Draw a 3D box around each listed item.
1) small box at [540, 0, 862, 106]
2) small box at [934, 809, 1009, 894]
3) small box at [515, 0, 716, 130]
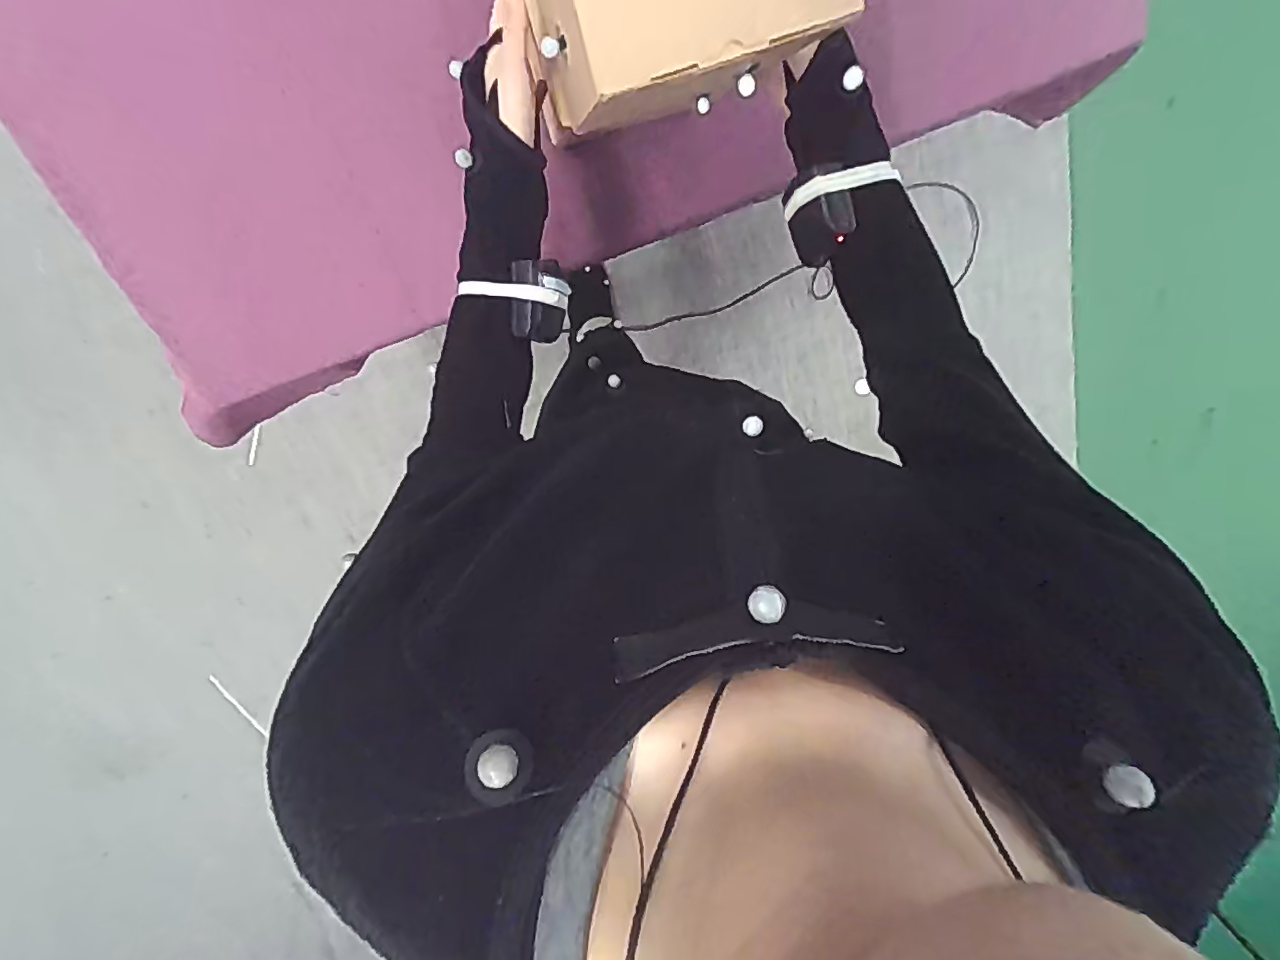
[{"bbox_3d":[0.017,-0.359,0.337,0.168,0.176,0.179,-19,118,-3],"label":"small box"},{"bbox_3d":[1.195,1.339,1.956,0.168,0.176,0.179,-19,112,-1],"label":"small box"},{"bbox_3d":[-0.019,-0.431,0.478,0.179,0.176,0.168,-18,119,-3],"label":"small box"}]
